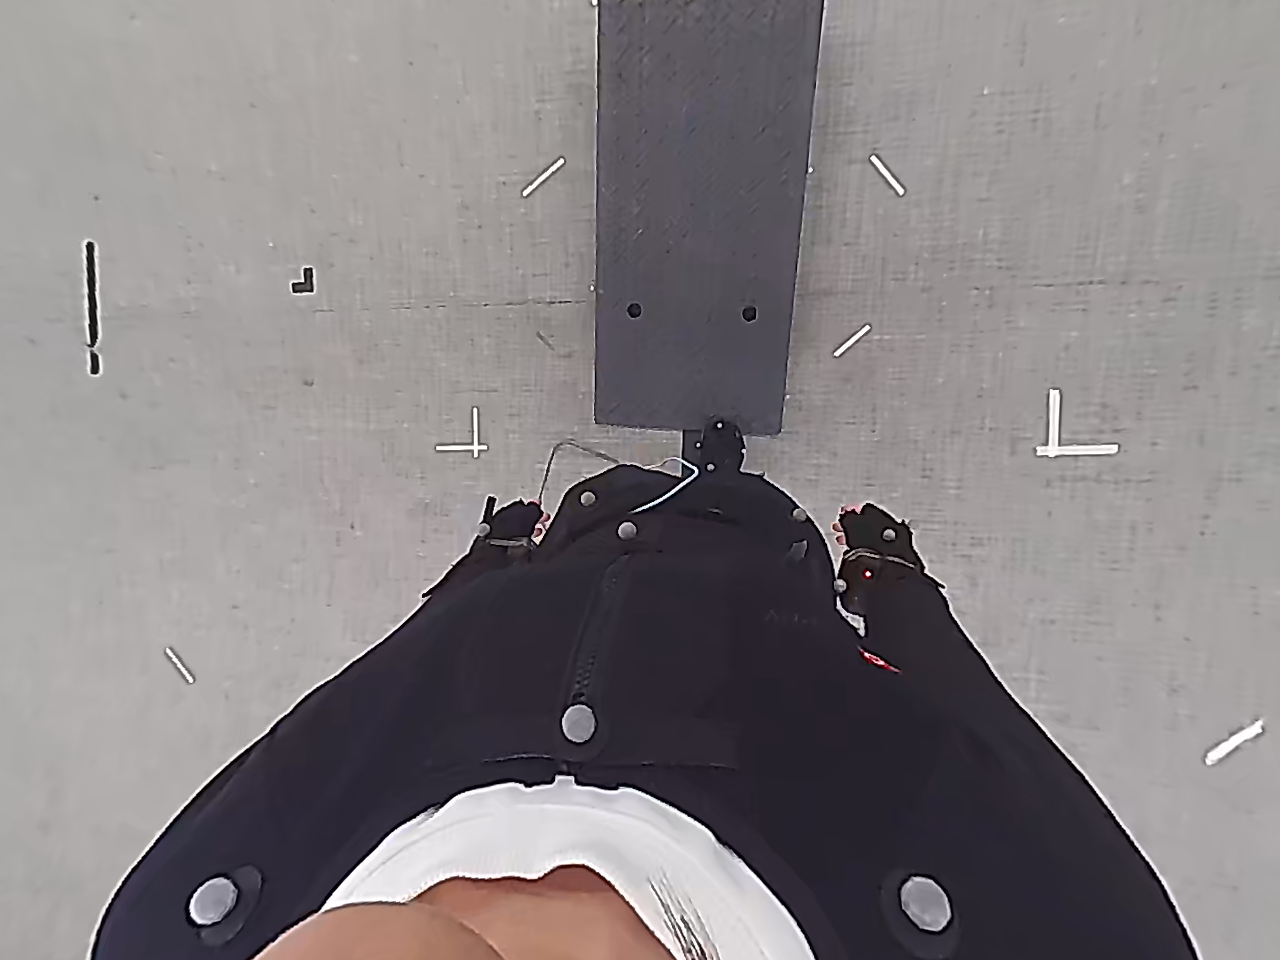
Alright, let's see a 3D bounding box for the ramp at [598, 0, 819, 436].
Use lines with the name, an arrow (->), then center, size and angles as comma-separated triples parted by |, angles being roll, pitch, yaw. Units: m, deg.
ramp -> 0.147, -0.604, 1.308 | 0.509, 0.206, 0.991 | 1, 94, 8
